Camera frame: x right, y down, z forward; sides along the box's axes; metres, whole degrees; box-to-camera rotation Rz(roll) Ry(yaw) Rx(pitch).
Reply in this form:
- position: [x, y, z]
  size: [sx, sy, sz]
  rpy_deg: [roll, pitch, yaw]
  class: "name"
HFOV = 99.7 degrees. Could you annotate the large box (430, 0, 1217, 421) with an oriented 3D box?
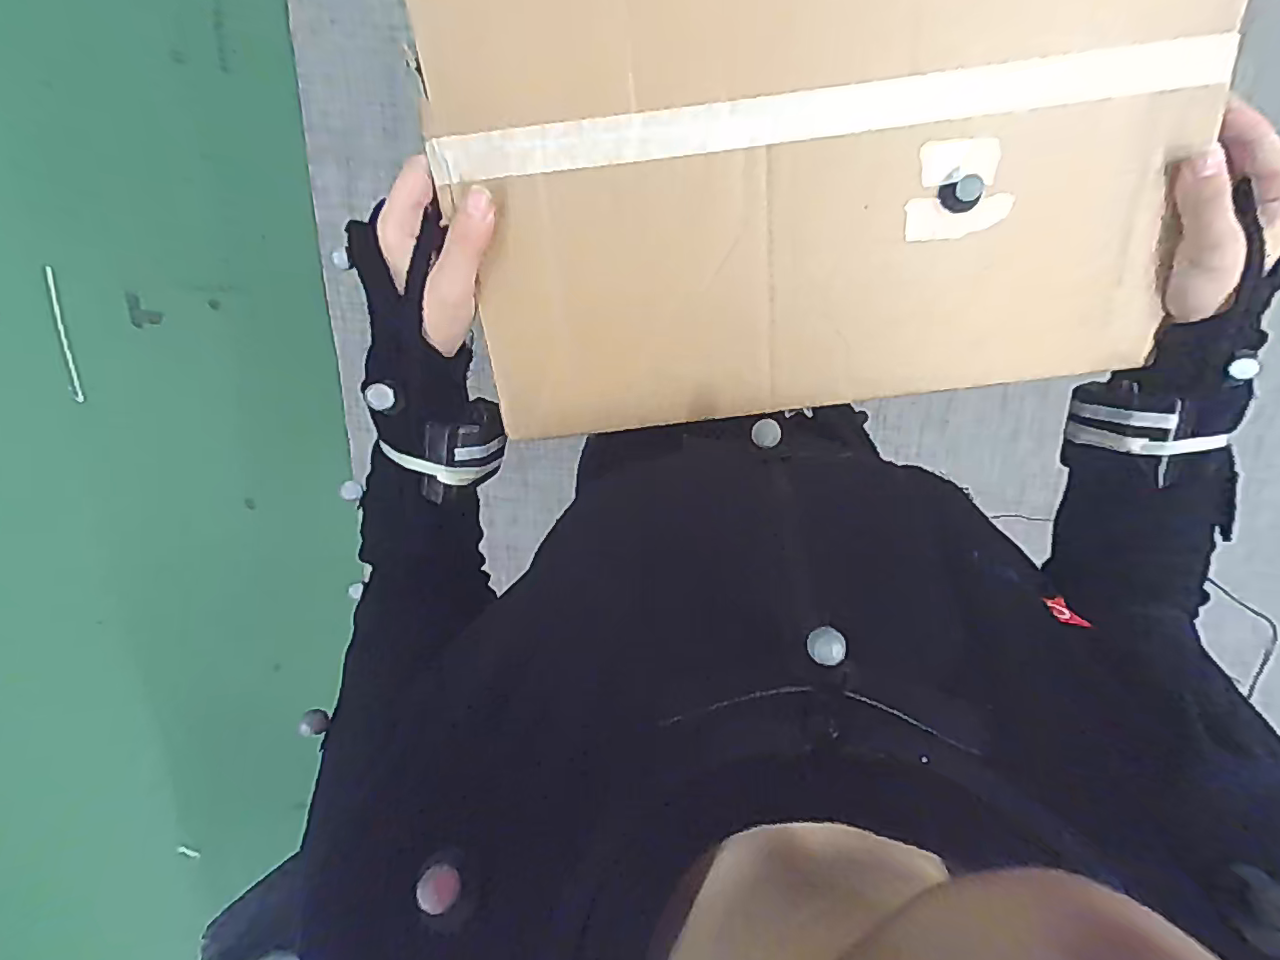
- position: [0.092, -0.259, 0.423]
  size: [0.408, 0.320, 0.320]
  rpy_deg: [-8, 114, -1]
  class: "large box"
